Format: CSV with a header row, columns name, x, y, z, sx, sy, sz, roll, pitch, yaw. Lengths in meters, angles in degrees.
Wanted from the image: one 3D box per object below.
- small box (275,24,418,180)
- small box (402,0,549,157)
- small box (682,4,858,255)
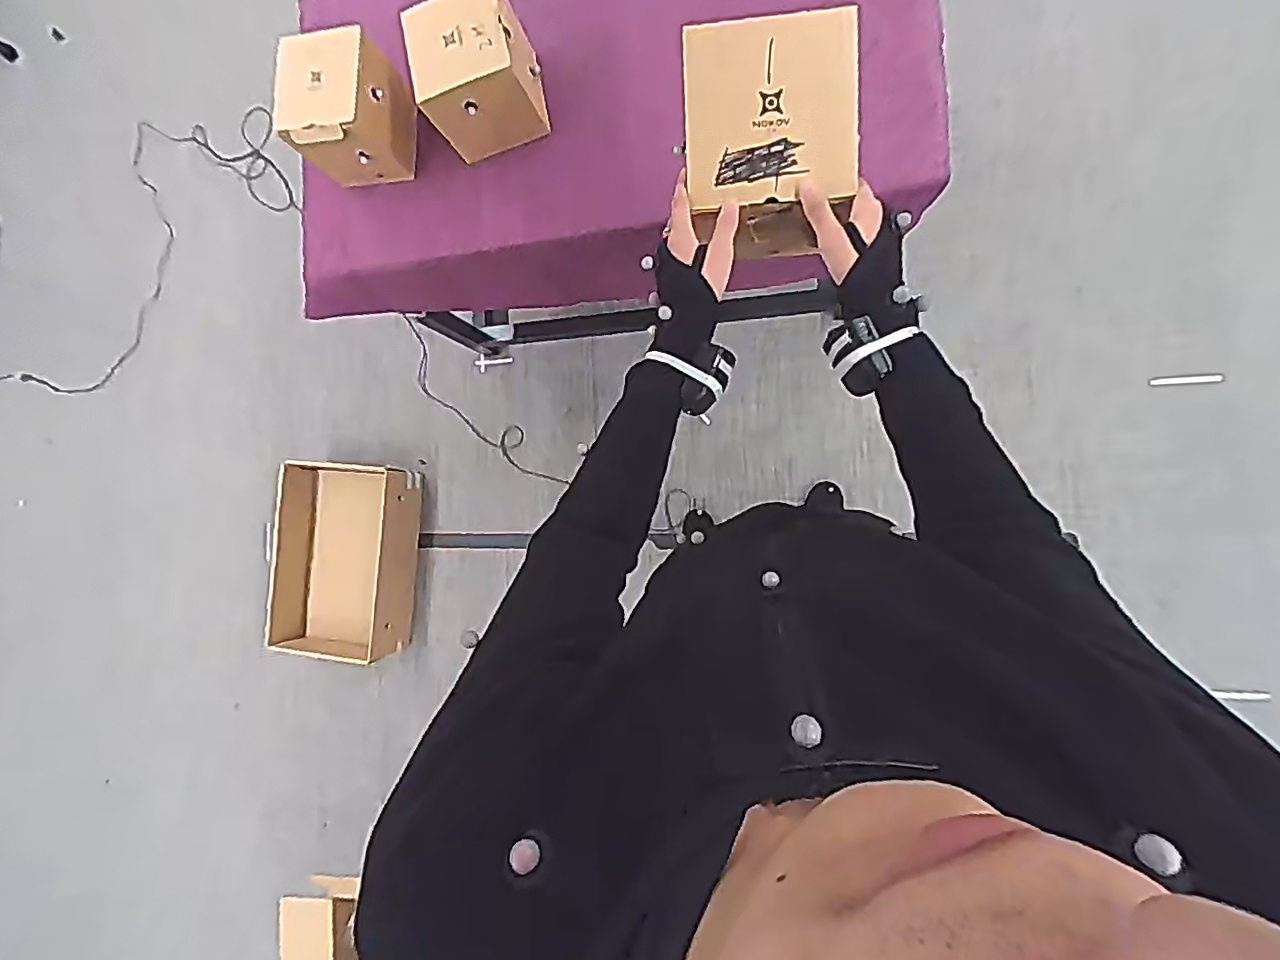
name,x,y,z,sx,sy,sz,roll,pitch,yaw
small box,-0.535,-0.684,1.004,0.168,0.176,0.179,2,88,11
small box,-0.281,-0.710,0.949,0.179,0.176,0.168,-12,86,11
small box,0.133,-0.362,0.598,0.168,0.176,0.179,-2,94,6
